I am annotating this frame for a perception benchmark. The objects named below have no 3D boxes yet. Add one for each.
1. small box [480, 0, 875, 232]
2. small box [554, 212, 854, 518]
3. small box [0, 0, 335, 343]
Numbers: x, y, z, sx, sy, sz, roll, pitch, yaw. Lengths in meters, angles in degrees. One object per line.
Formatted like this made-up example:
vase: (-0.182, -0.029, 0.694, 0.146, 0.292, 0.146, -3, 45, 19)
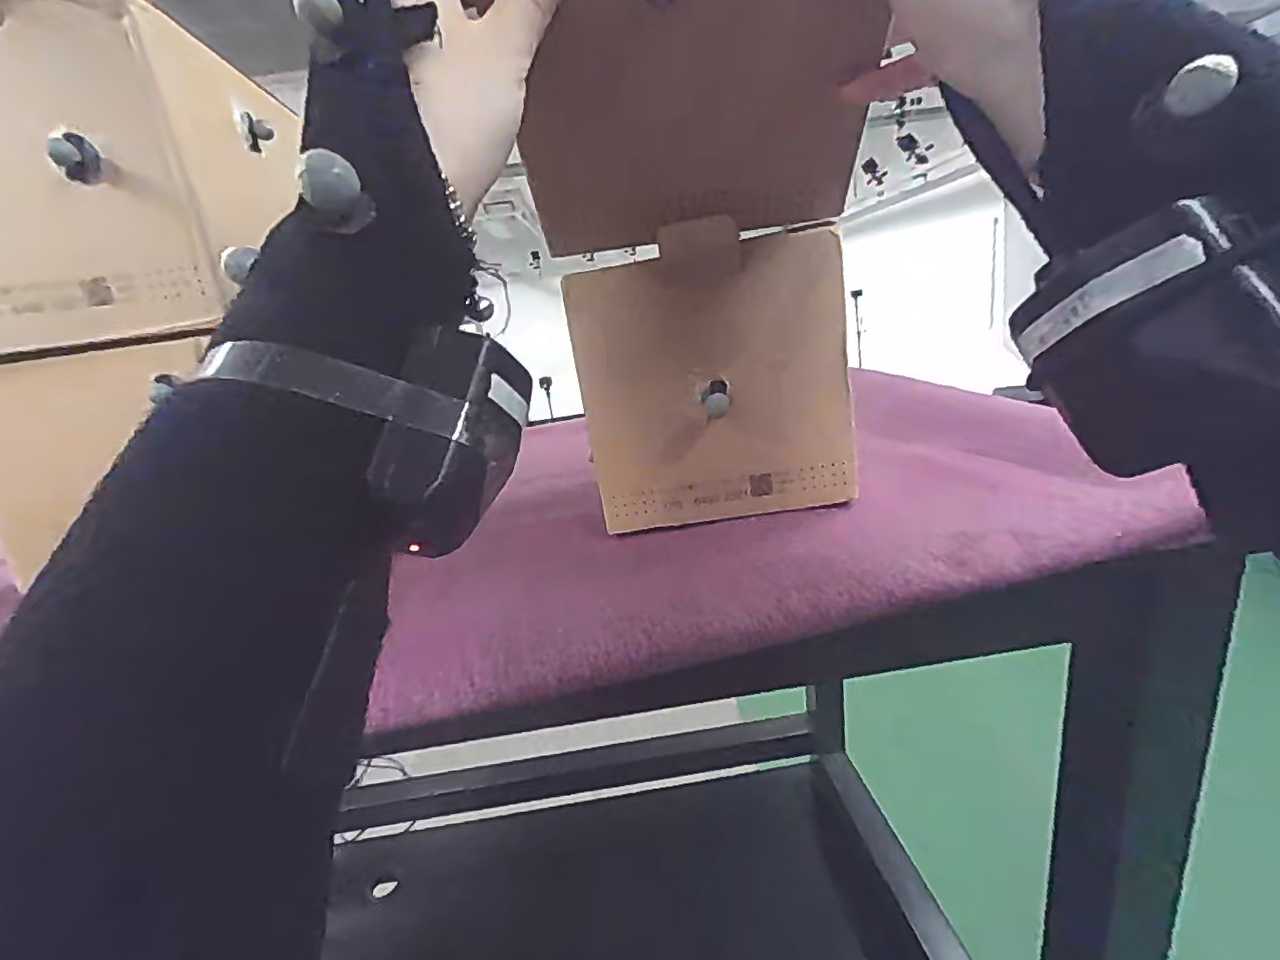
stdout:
small box: (0.014, -0.253, 0.279, 0.179, 0.176, 0.168, -7, 60, 2)
small box: (0.048, -0.077, 0.400, 0.168, 0.176, 0.179, -9, 15, 5)
small box: (-0.325, -0.171, 0.344, 0.168, 0.176, 0.179, -8, 14, -5)
